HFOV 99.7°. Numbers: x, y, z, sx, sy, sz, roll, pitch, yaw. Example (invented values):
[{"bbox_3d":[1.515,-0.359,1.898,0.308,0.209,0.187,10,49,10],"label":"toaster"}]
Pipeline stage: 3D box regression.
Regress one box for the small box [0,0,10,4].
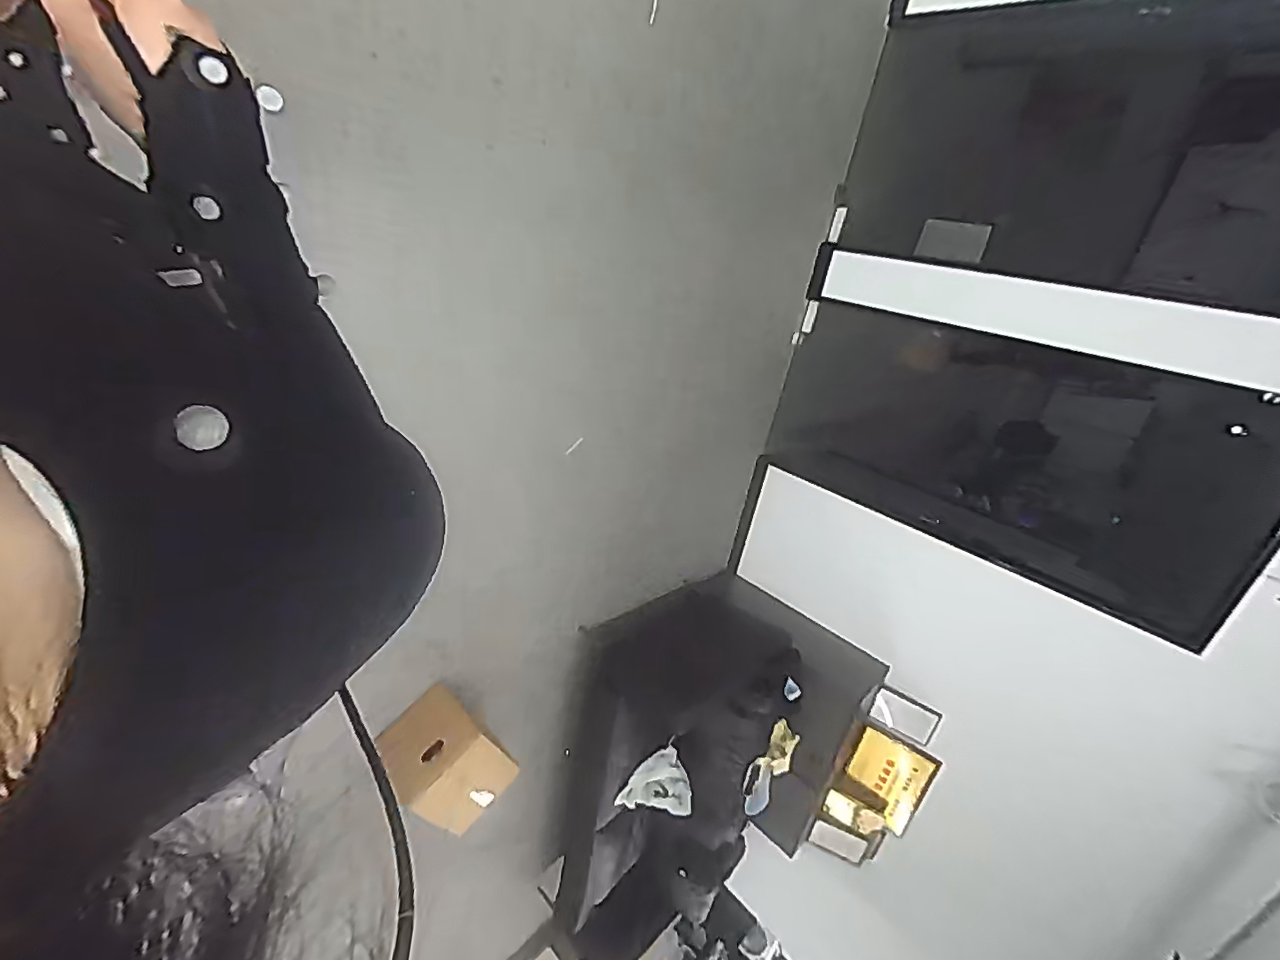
[{"bbox_3d":[-0.407,-0.370,0.252,0.168,0.176,0.179,-1,115,-53],"label":"small box"}]
